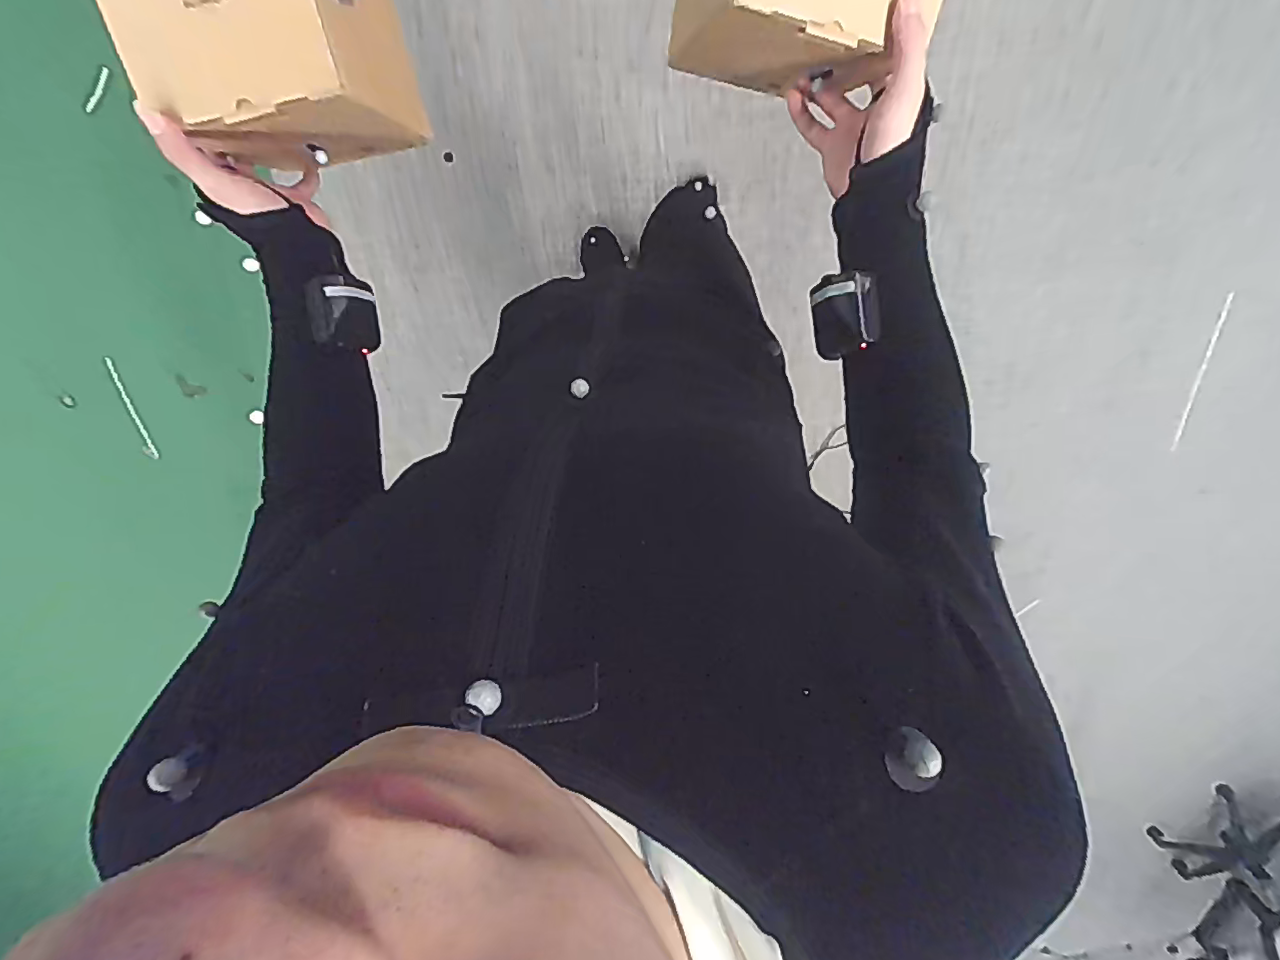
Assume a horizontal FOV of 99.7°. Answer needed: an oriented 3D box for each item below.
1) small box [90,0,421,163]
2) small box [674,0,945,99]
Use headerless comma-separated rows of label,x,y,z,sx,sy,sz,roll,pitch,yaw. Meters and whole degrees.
small box,-0.314,-0.392,0.456,0.168,0.176,0.179,-8,111,5
small box,0.135,-0.432,0.426,0.168,0.176,0.179,4,112,-17
